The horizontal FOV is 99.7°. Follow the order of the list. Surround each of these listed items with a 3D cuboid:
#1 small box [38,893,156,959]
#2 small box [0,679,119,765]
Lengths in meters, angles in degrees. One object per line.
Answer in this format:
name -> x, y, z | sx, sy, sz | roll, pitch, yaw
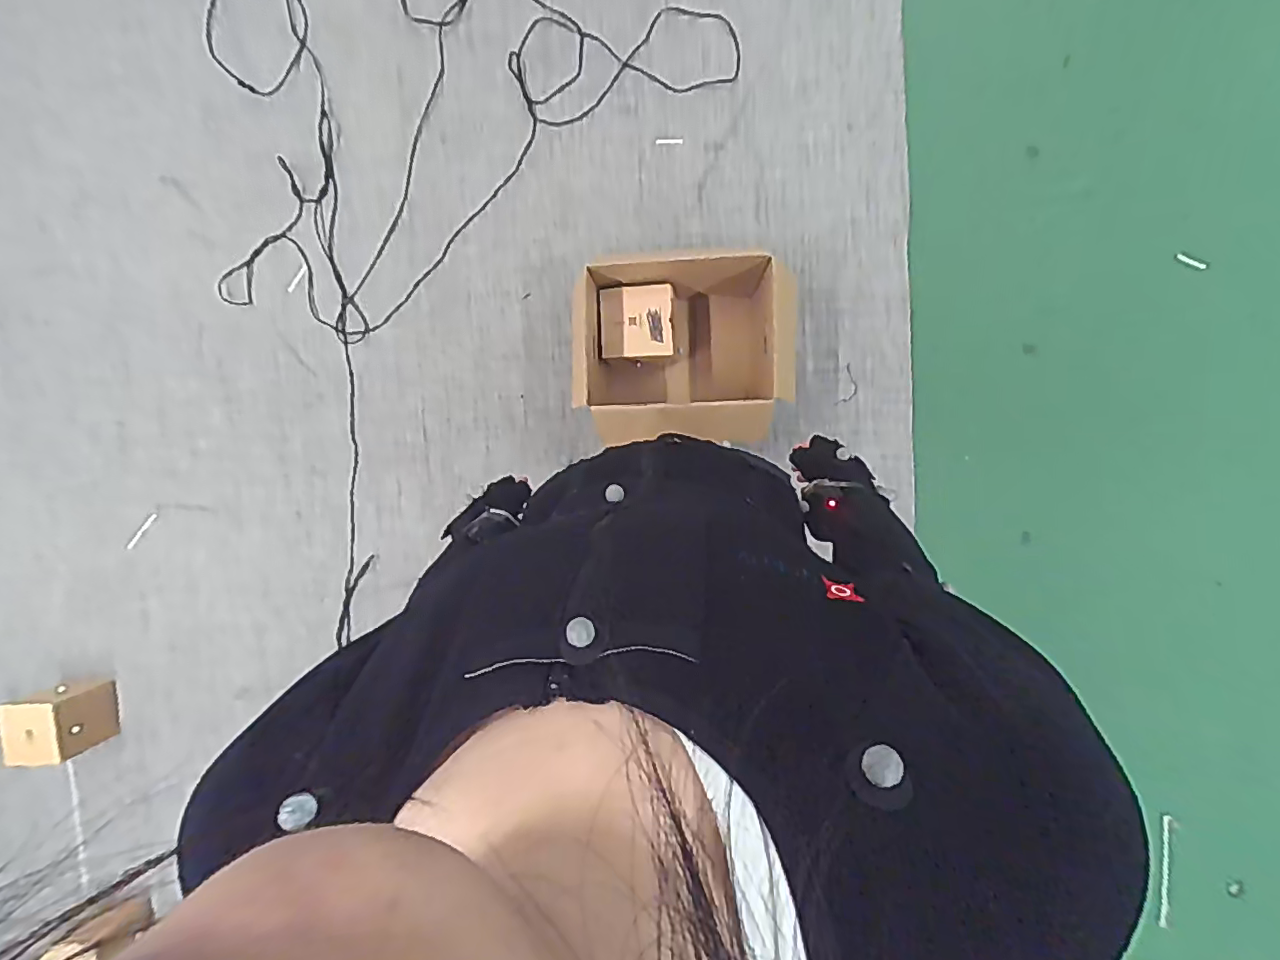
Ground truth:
small box -> -1.597, 1.365, 1.598 | 0.179, 0.176, 0.168 | -4, 94, 4
small box -> -1.660, 0.684, 1.550 | 0.168, 0.176, 0.179 | -4, 95, 3
